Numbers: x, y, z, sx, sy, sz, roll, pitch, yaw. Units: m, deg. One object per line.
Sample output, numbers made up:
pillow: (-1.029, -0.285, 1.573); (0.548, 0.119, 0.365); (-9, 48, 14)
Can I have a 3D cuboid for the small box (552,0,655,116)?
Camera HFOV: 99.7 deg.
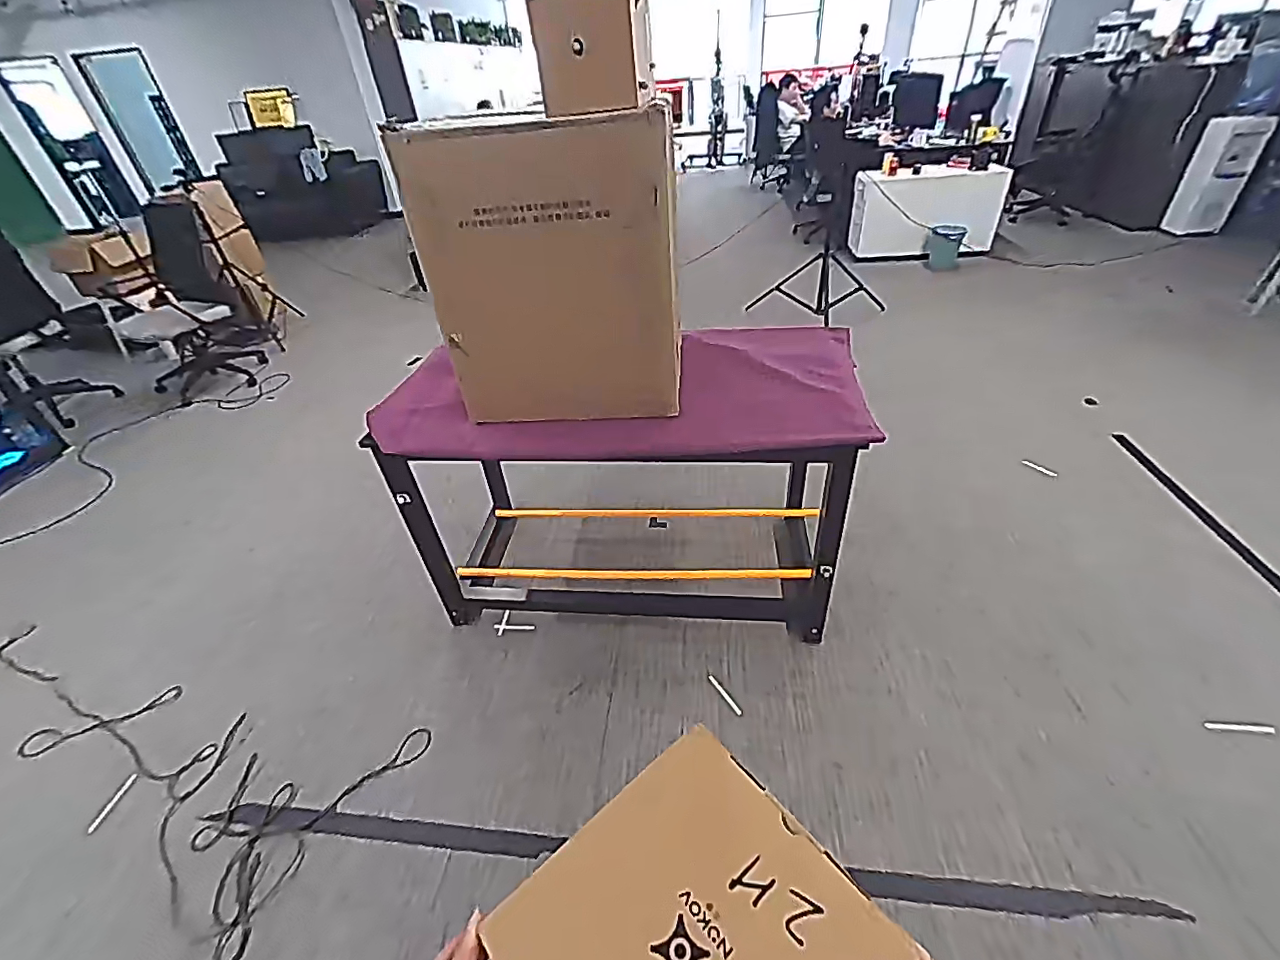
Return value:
small box: (-0.066, -0.863, 1.117); (0.179, 0.176, 0.168); (-1, 37, 7)
